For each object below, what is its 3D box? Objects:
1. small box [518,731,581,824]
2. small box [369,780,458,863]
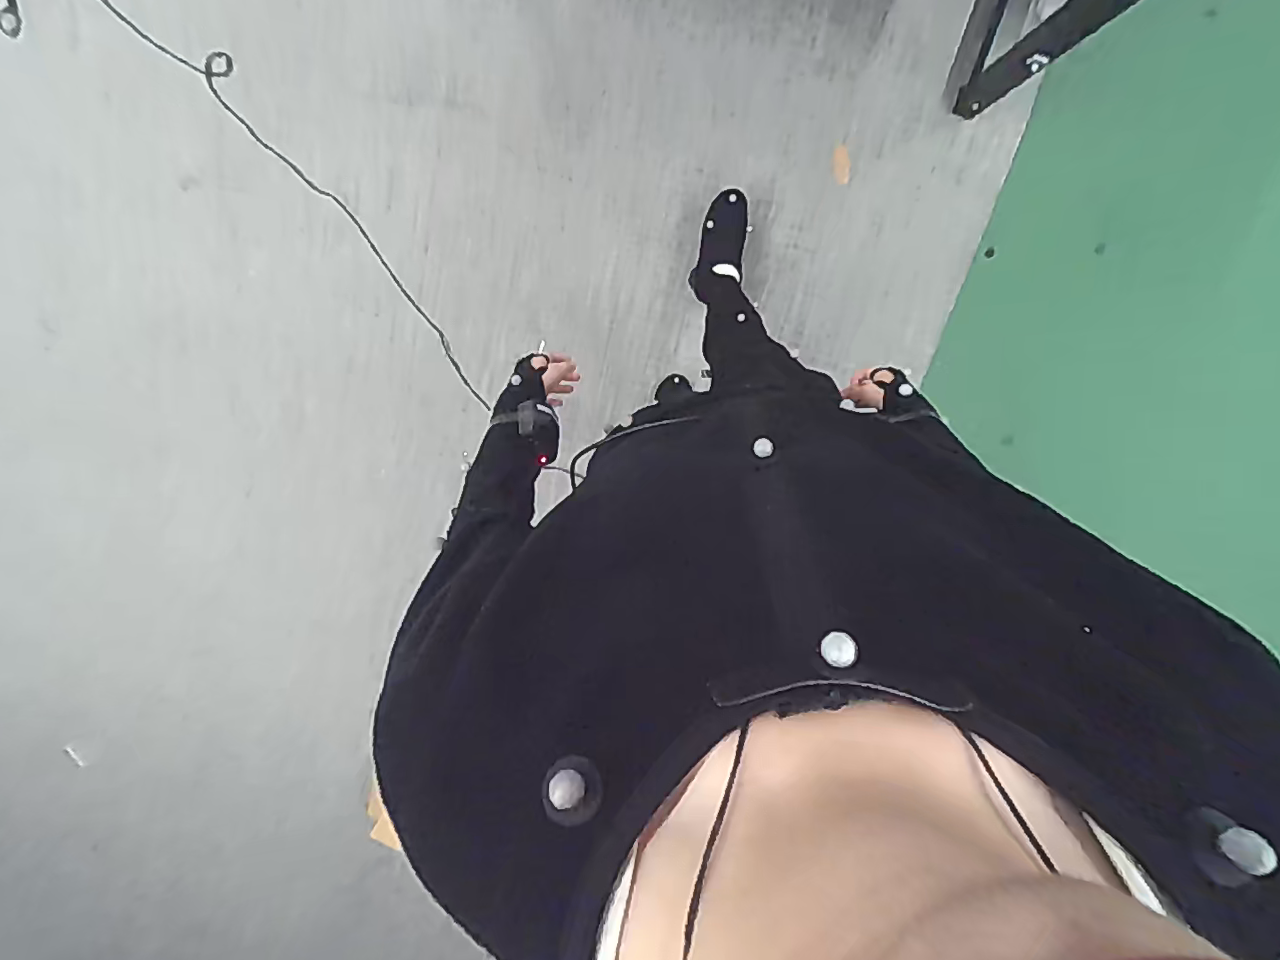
[{"bbox_3d":[-0.290,0.917,1.669,0.168,0.176,0.179,20,105,-2],"label":"small box"},{"bbox_3d":[-0.712,1.056,1.722,0.179,0.176,0.168,30,104,-4],"label":"small box"}]
